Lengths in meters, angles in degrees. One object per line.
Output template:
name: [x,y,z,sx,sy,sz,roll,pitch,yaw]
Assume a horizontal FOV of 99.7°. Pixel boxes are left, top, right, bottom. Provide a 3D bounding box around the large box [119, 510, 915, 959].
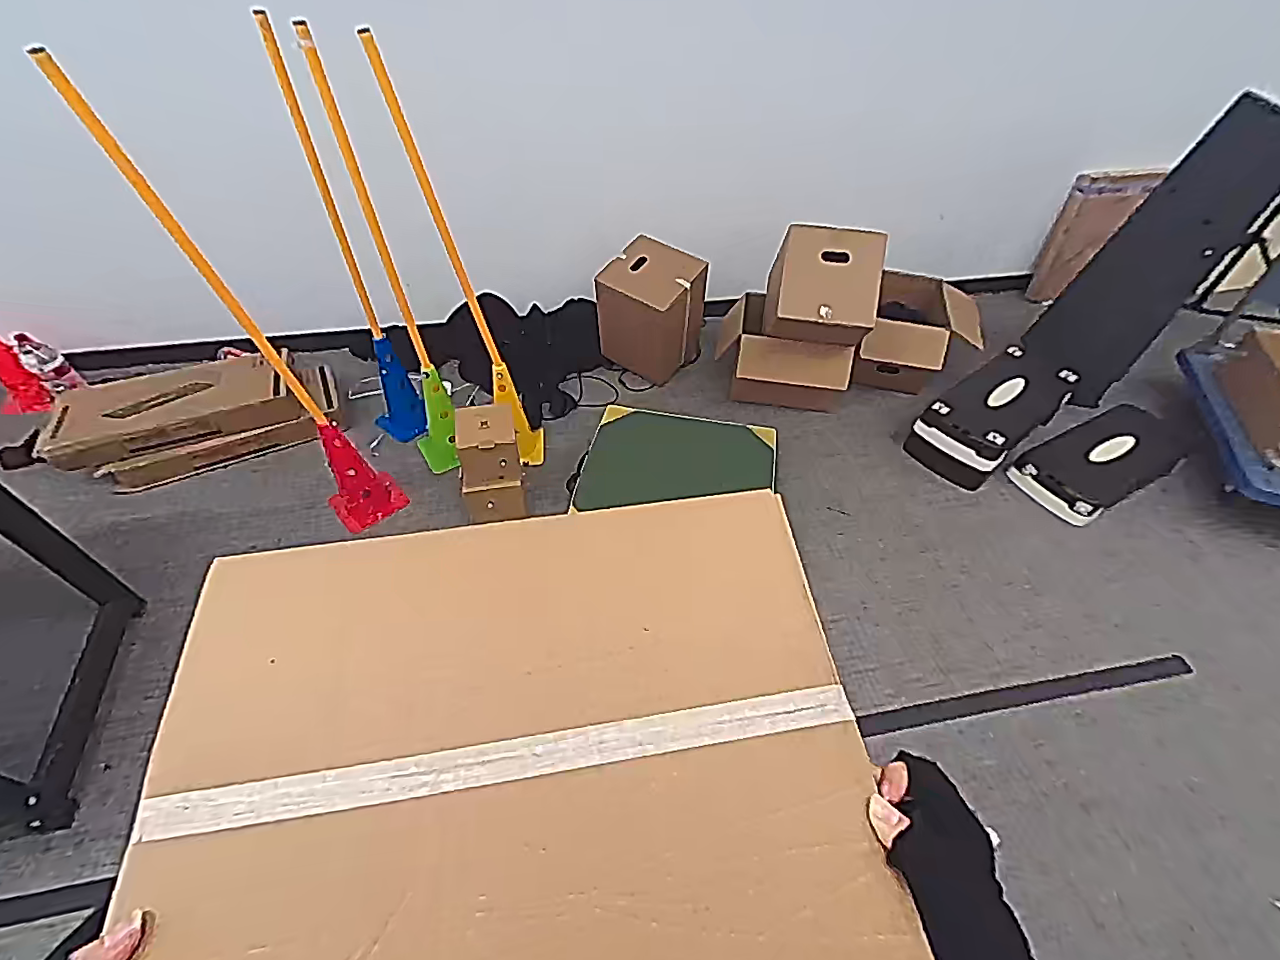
large box: [-0.073,0.255,0.445,0.408,0.320,0.320,-7,57,-5]
